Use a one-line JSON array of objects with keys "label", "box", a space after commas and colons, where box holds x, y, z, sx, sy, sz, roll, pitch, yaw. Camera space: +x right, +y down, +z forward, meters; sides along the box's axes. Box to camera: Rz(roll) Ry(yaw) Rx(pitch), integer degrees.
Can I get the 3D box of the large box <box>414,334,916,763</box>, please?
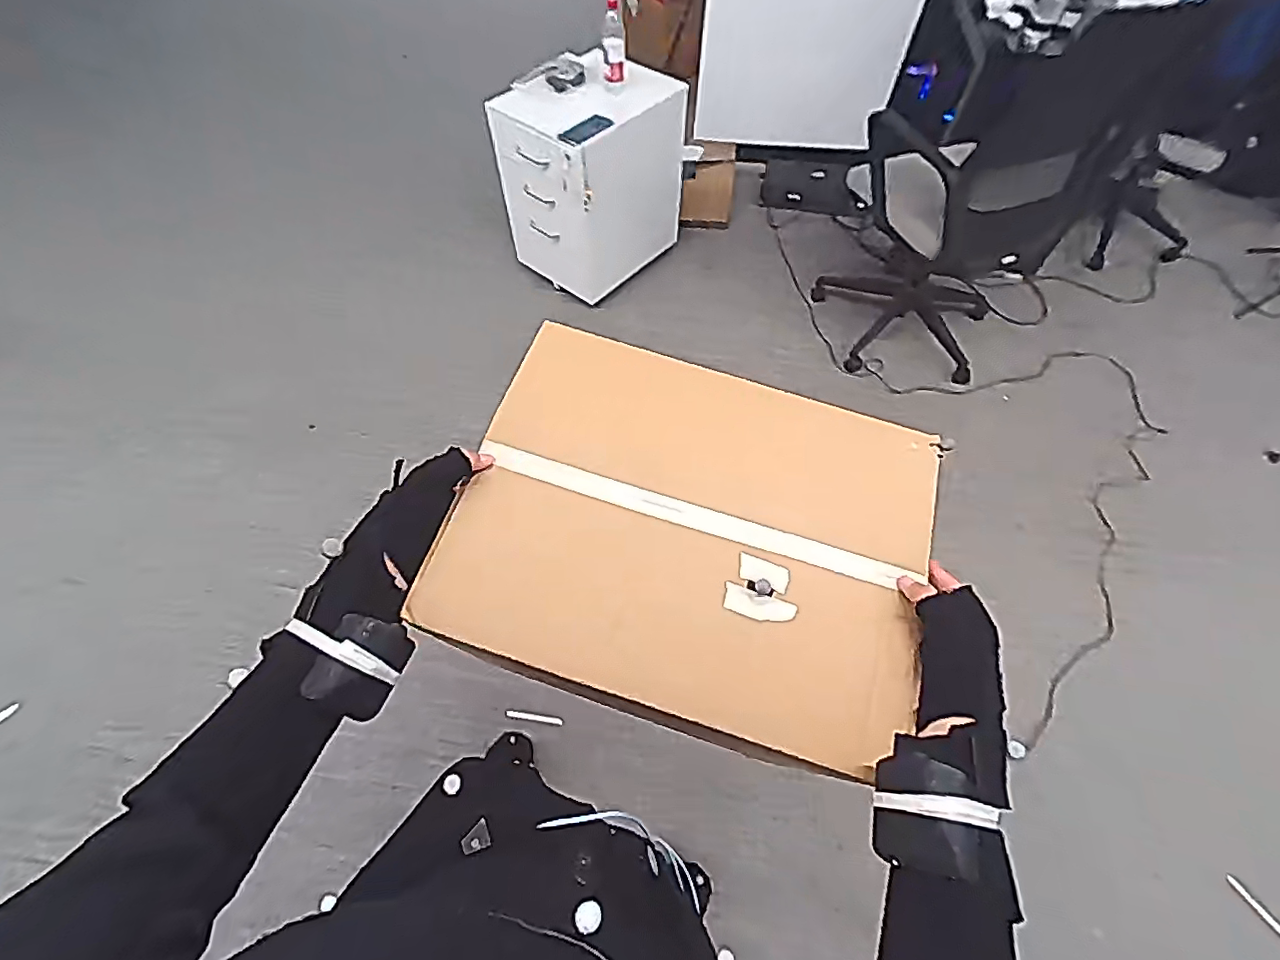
[{"label": "large box", "box": [0.033, 0.094, 0.623, 0.408, 0.320, 0.320, 17, 67, 3]}]
